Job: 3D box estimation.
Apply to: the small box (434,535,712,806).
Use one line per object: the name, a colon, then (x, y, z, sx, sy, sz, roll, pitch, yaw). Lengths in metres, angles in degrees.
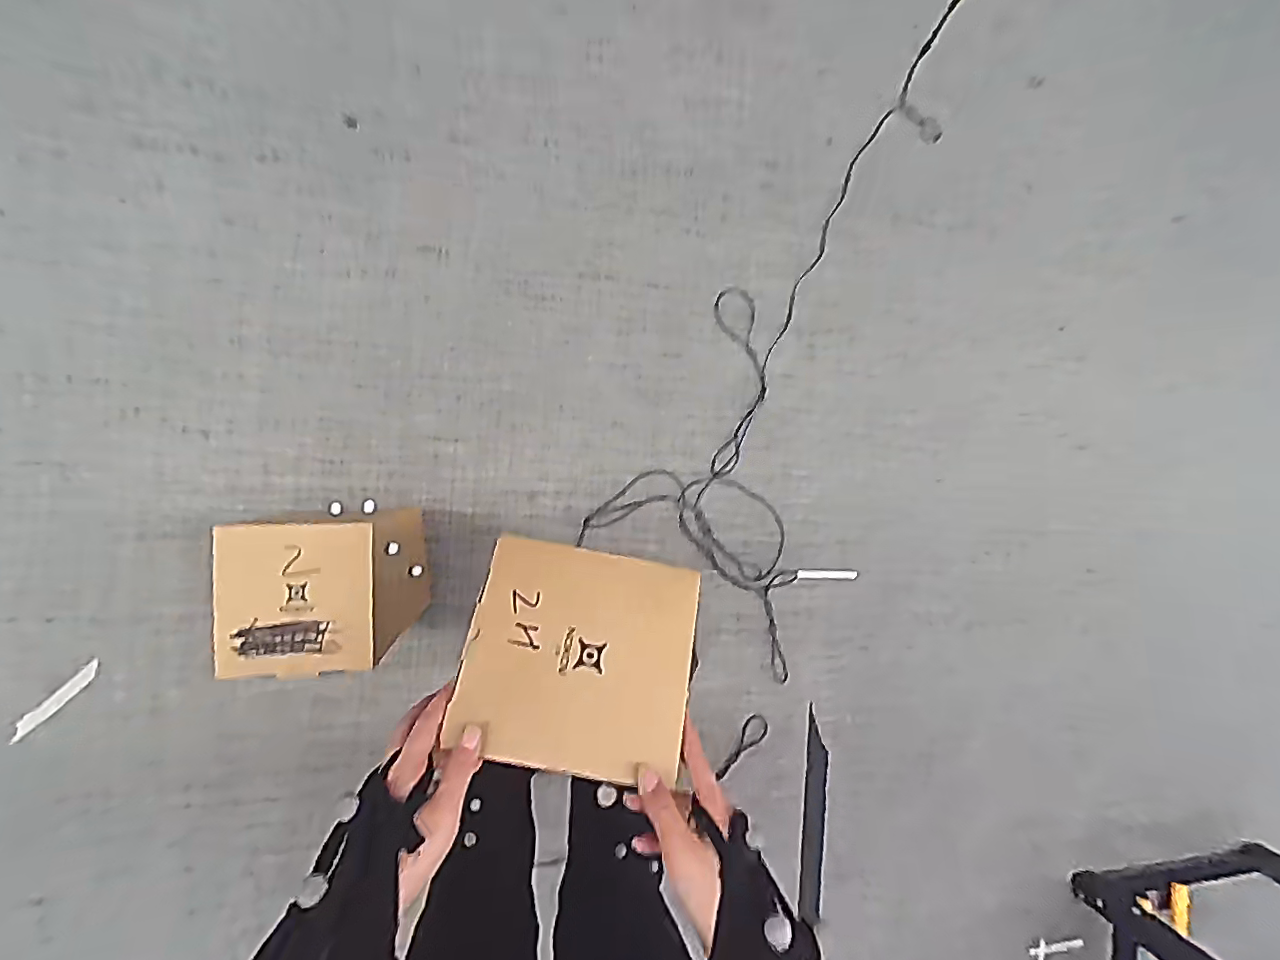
small box: (-0.049, 0.168, 0.473, 0.179, 0.176, 0.168, 12, 62, 0)

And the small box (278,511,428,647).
small box: (-0.438, 0.142, 0.849, 0.168, 0.176, 0.179, -5, 92, -12)
